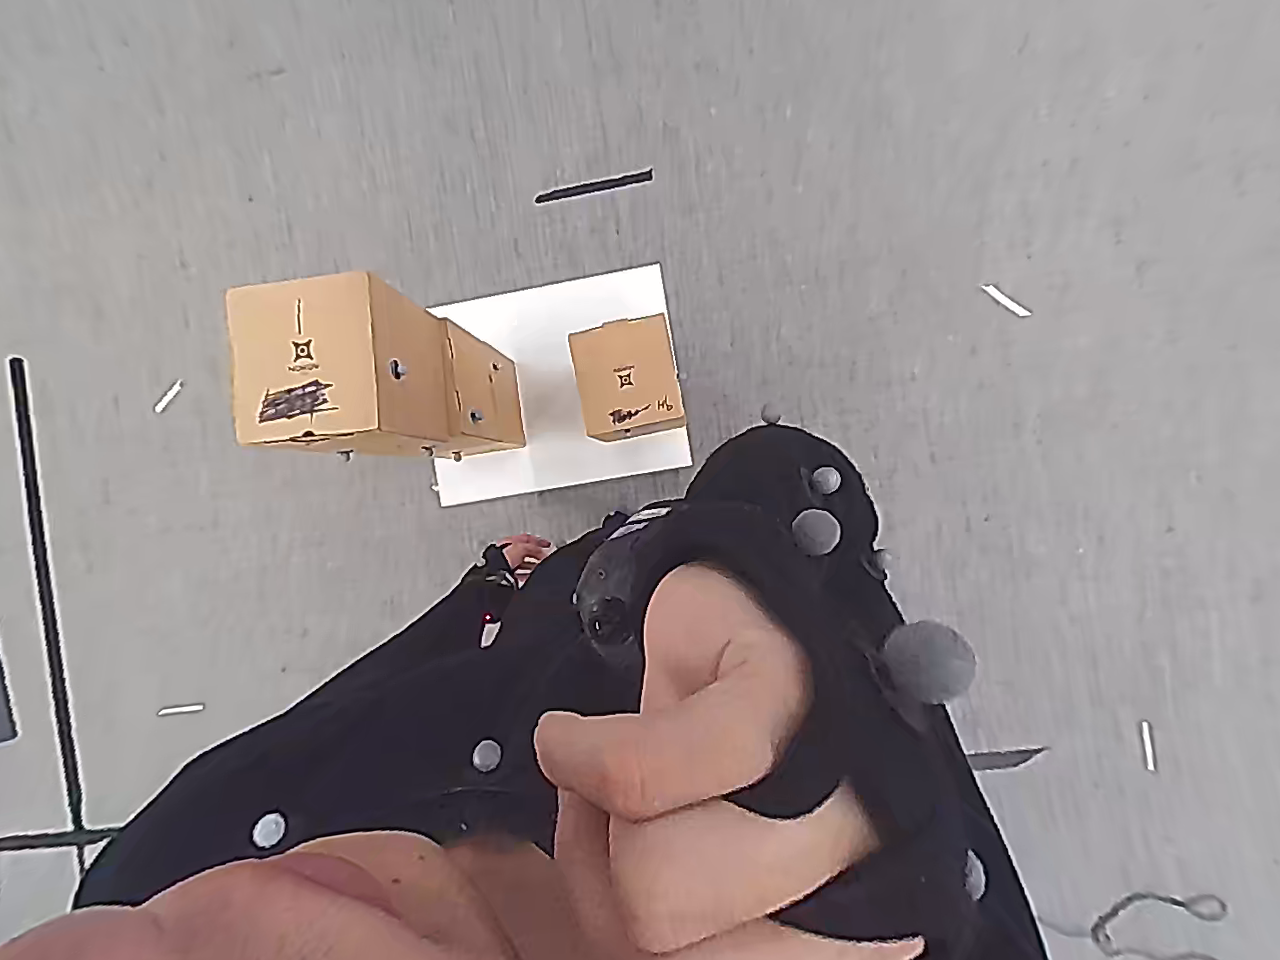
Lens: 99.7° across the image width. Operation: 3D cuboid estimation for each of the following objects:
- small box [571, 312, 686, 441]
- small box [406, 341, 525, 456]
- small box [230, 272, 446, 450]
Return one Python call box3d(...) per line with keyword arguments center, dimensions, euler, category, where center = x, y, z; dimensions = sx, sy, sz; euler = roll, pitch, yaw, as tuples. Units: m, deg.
box3d(center=(-0.014, -0.174, 0.962), dimensions=(0.168, 0.176, 0.179), euler=(-11, 89, 6), category="small box")
box3d(center=(-0.320, -0.139, 0.989), dimensions=(0.168, 0.176, 0.179), euler=(-8, 89, 4), category="small box")
box3d(center=(-0.352, -0.130, 0.662), dimensions=(0.168, 0.176, 0.179), euler=(-5, 89, 5), category="small box")
